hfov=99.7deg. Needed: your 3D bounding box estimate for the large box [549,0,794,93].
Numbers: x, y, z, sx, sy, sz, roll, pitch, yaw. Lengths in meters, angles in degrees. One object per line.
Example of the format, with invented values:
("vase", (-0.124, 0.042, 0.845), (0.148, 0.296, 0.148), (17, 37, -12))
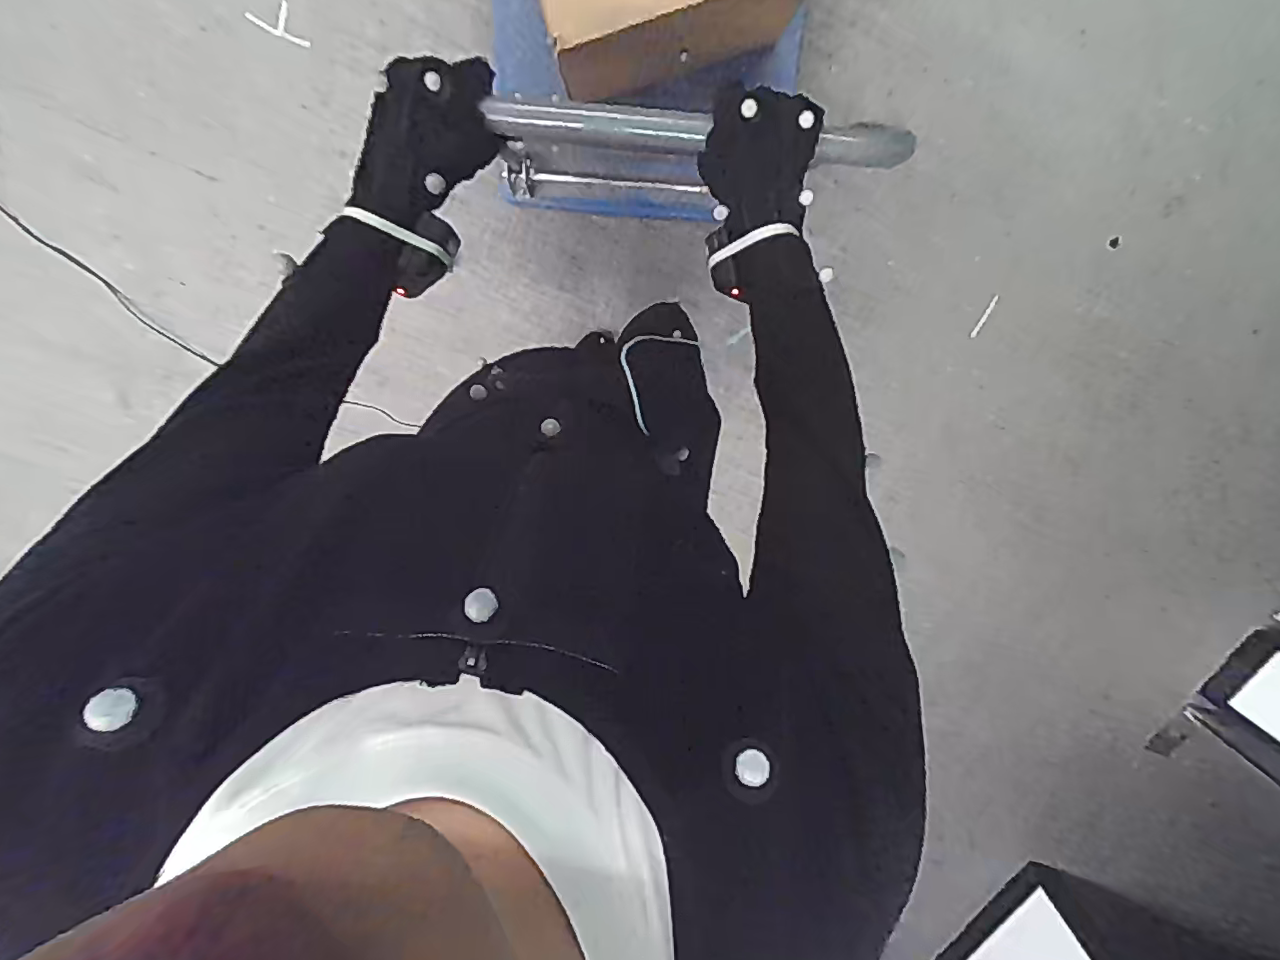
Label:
("large box", (0.034, -0.871, 0.833), (0.408, 0.320, 0.320), (-15, 111, 5))
